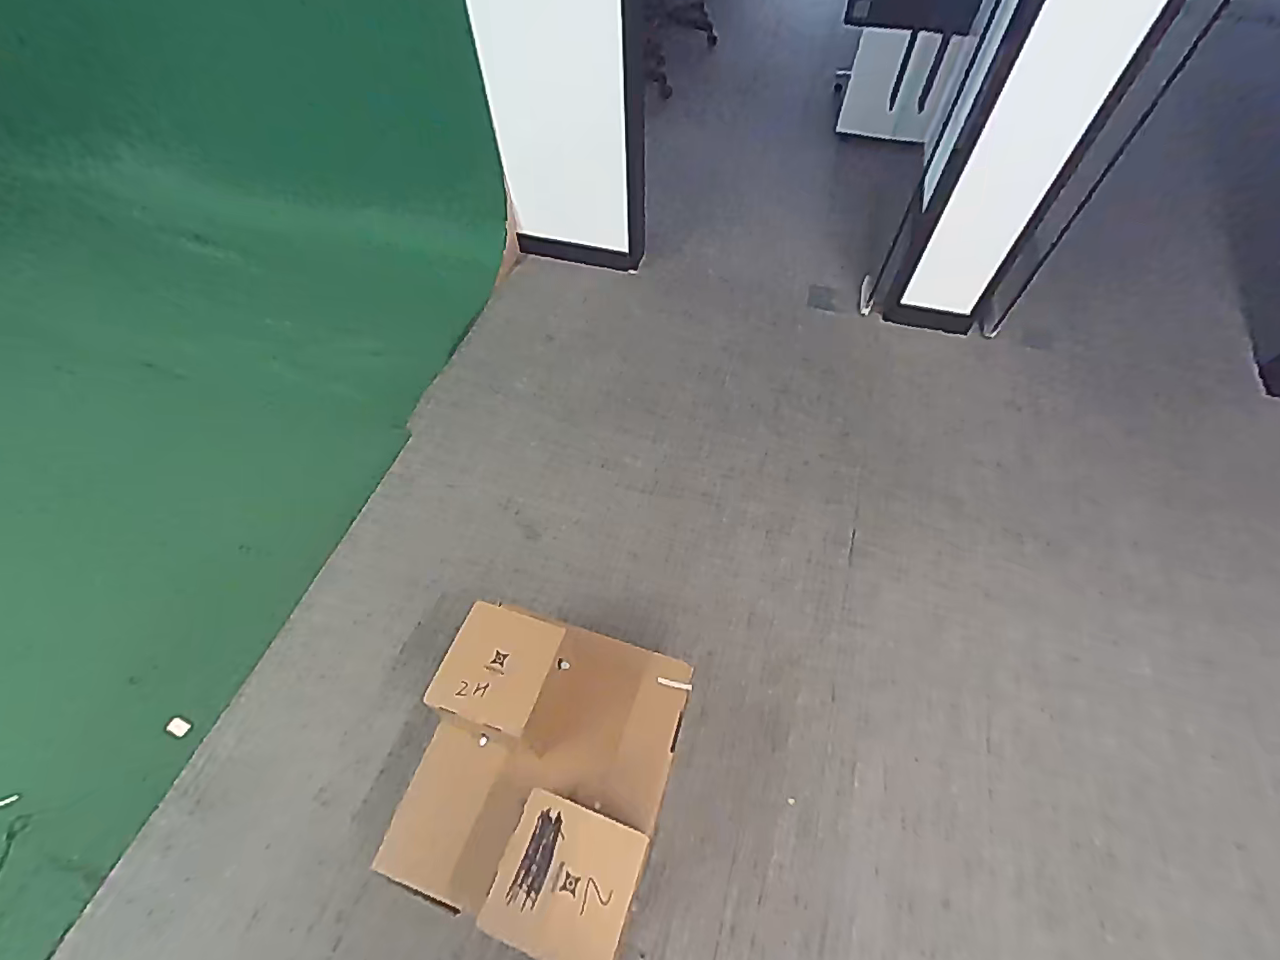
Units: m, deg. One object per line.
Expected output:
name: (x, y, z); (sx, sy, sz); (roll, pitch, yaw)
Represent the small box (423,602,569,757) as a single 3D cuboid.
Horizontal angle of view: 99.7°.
small box: (-0.227, 0.338, 0.910); (0.168, 0.176, 0.179); (15, 55, 11)
